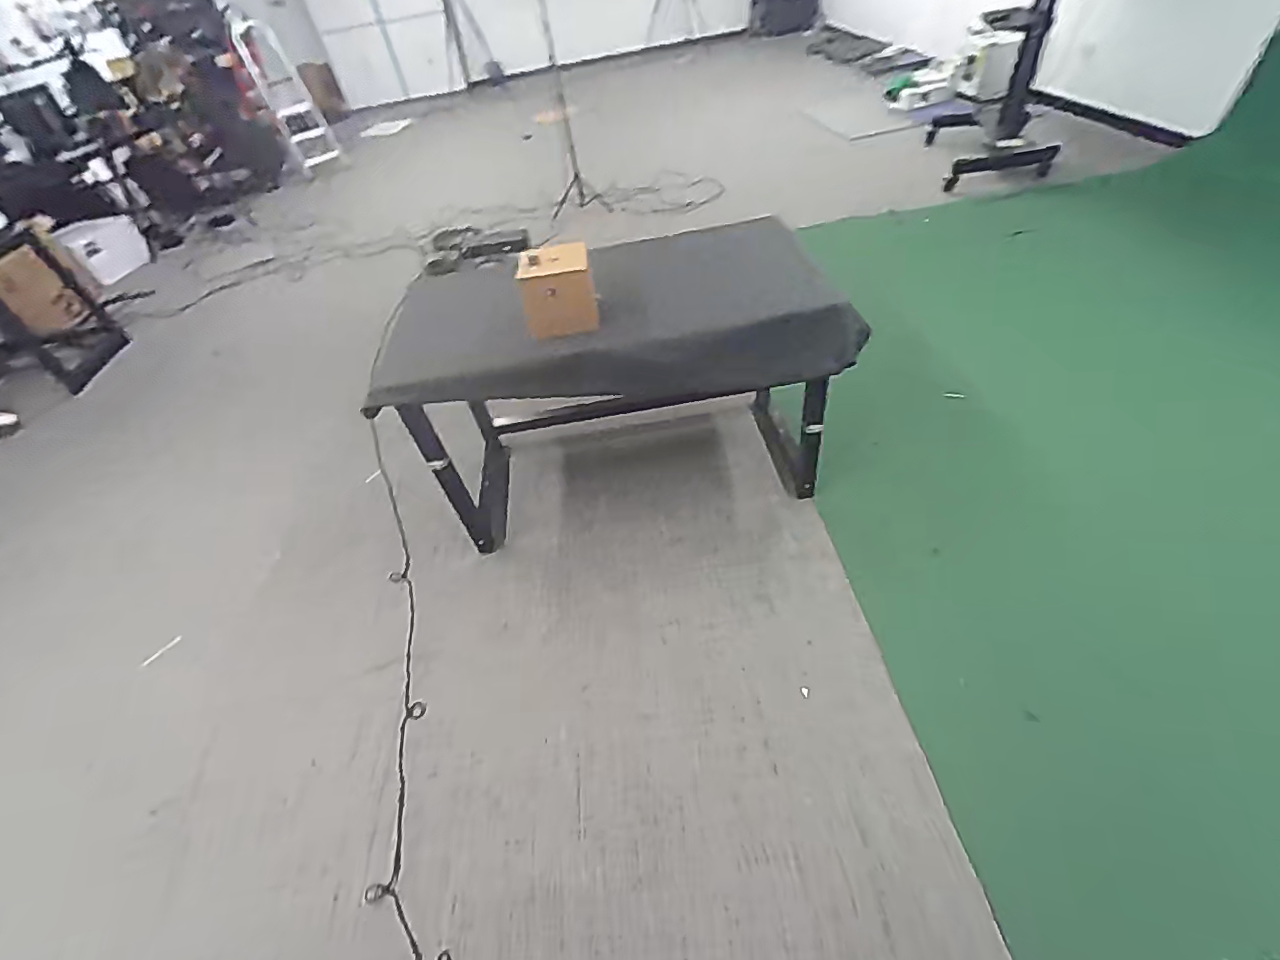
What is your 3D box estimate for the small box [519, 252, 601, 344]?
[{"bbox_3d":[-0.205,-0.474,1.423,0.179,0.176,0.168,-8,45,2],"label":"small box"}]
